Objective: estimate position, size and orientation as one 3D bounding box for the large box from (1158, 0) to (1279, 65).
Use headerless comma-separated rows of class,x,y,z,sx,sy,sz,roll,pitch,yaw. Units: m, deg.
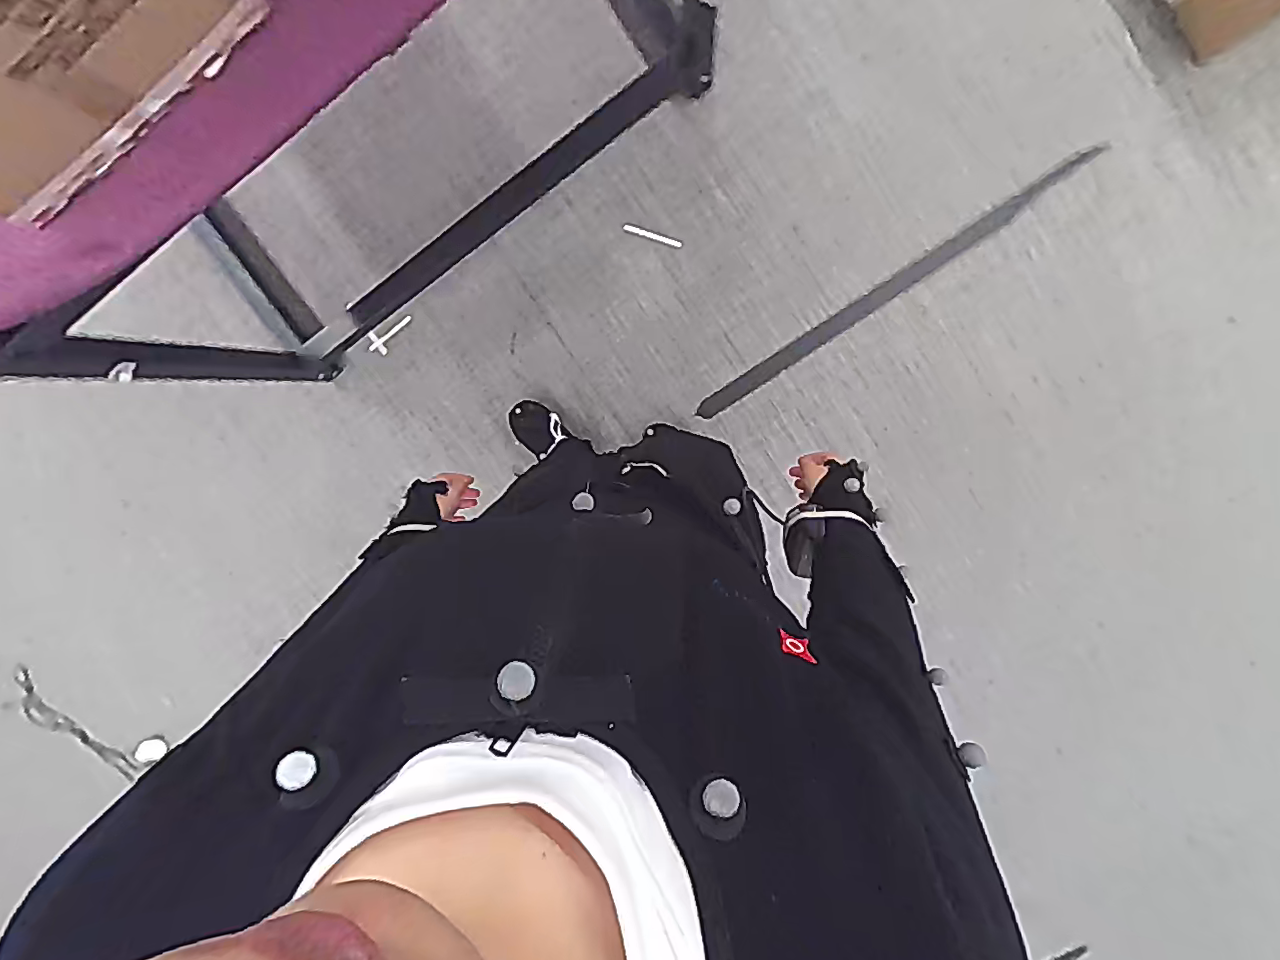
large box,1.230,-1.072,0.943,0.408,0.320,0.320,-35,94,10
